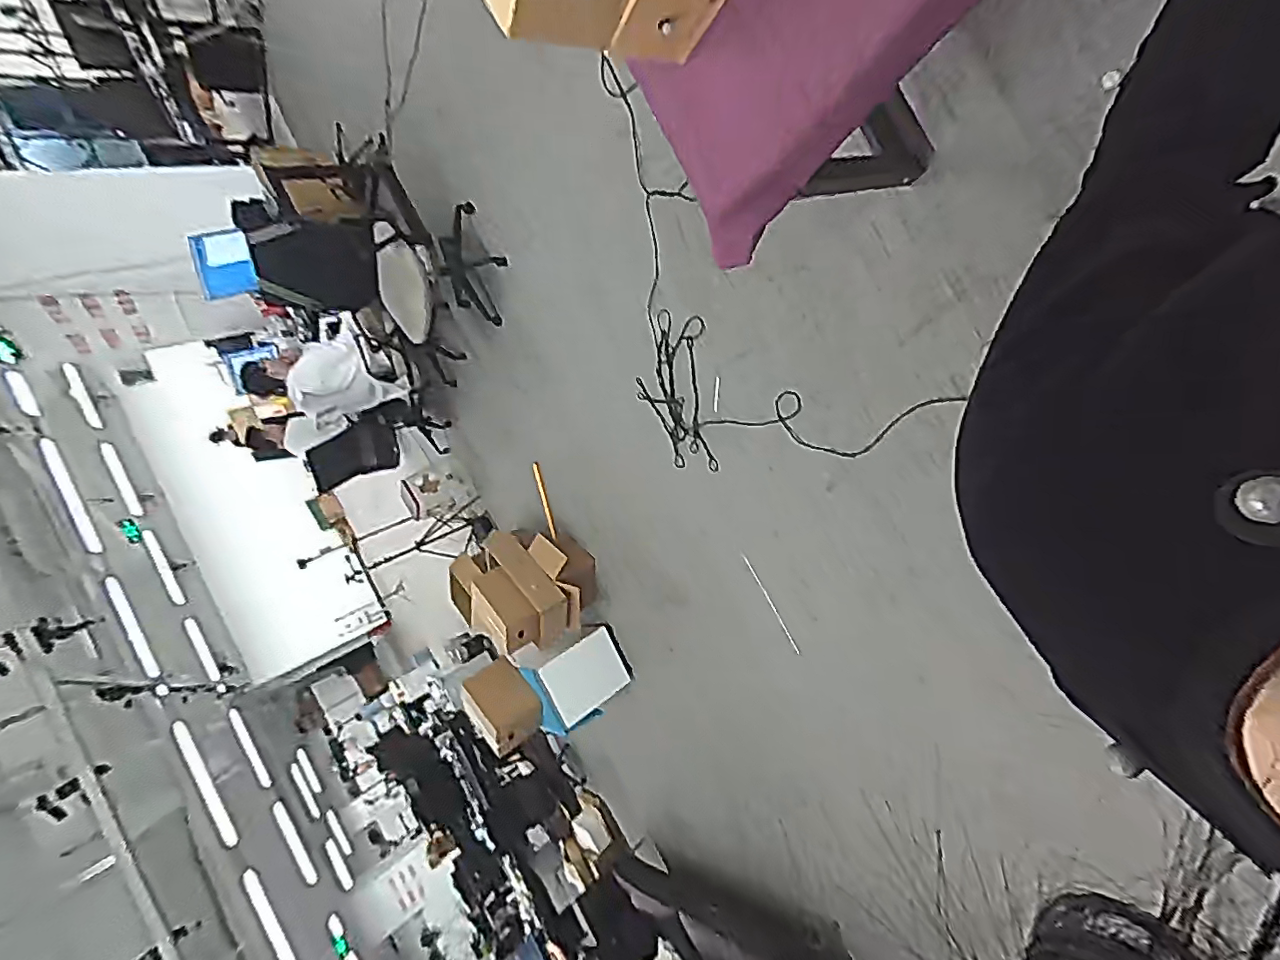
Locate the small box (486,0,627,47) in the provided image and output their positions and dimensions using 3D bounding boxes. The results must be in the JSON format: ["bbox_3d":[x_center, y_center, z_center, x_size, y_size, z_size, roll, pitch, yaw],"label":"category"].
[{"bbox_3d":[-0.106,-0.684,0.672,0.179,0.176,0.168,60,145,5],"label":"small box"}]

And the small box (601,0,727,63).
[{"bbox_3d":[0.021,-0.735,0.764,0.168,0.176,0.179,-28,88,56],"label":"small box"}]
